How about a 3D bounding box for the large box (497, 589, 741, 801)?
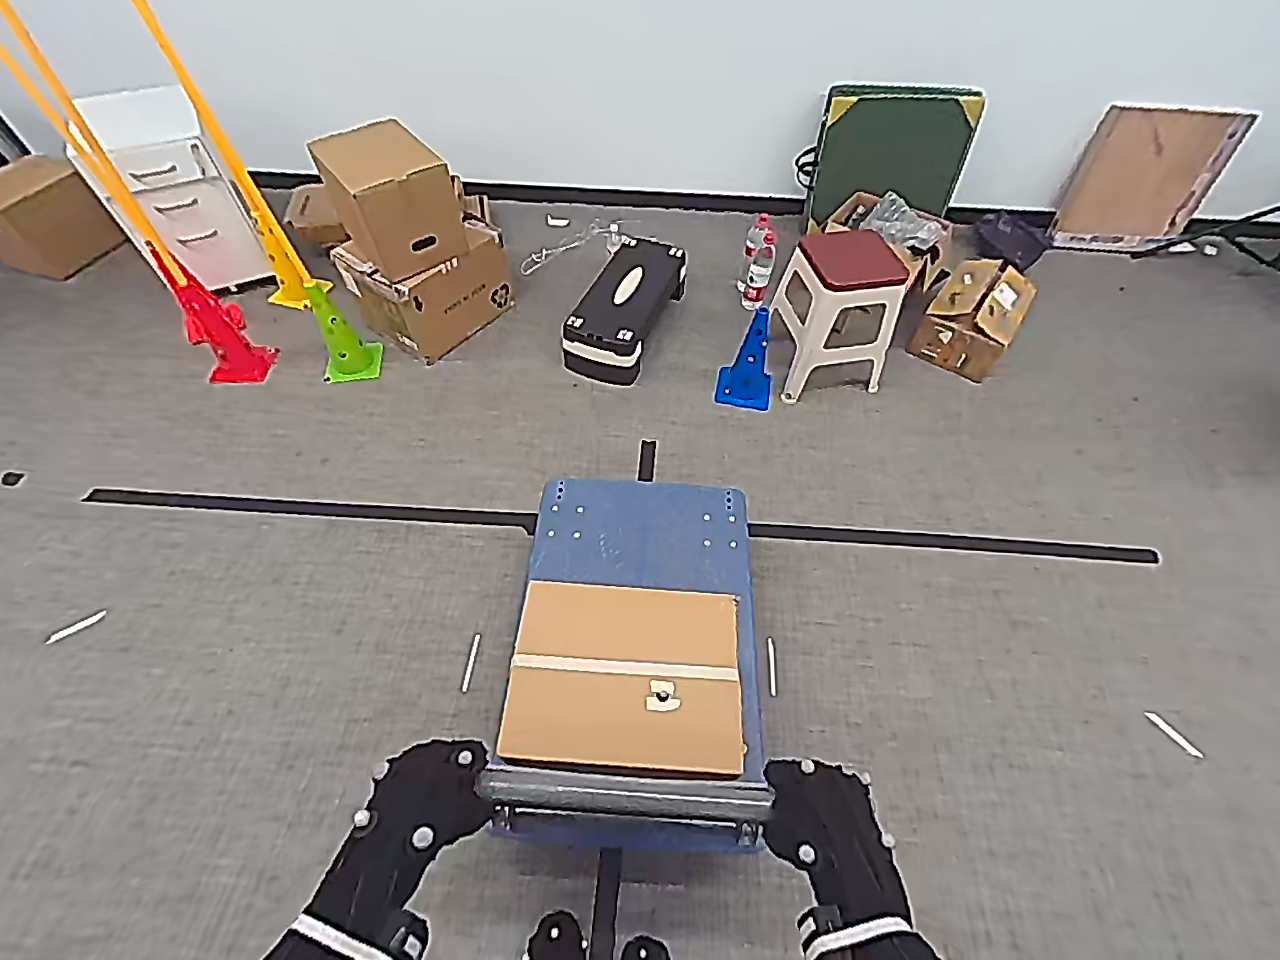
[{"bbox_3d":[-0.037,0.435,1.074,0.408,0.320,0.320,5,54,0],"label":"large box"}]
